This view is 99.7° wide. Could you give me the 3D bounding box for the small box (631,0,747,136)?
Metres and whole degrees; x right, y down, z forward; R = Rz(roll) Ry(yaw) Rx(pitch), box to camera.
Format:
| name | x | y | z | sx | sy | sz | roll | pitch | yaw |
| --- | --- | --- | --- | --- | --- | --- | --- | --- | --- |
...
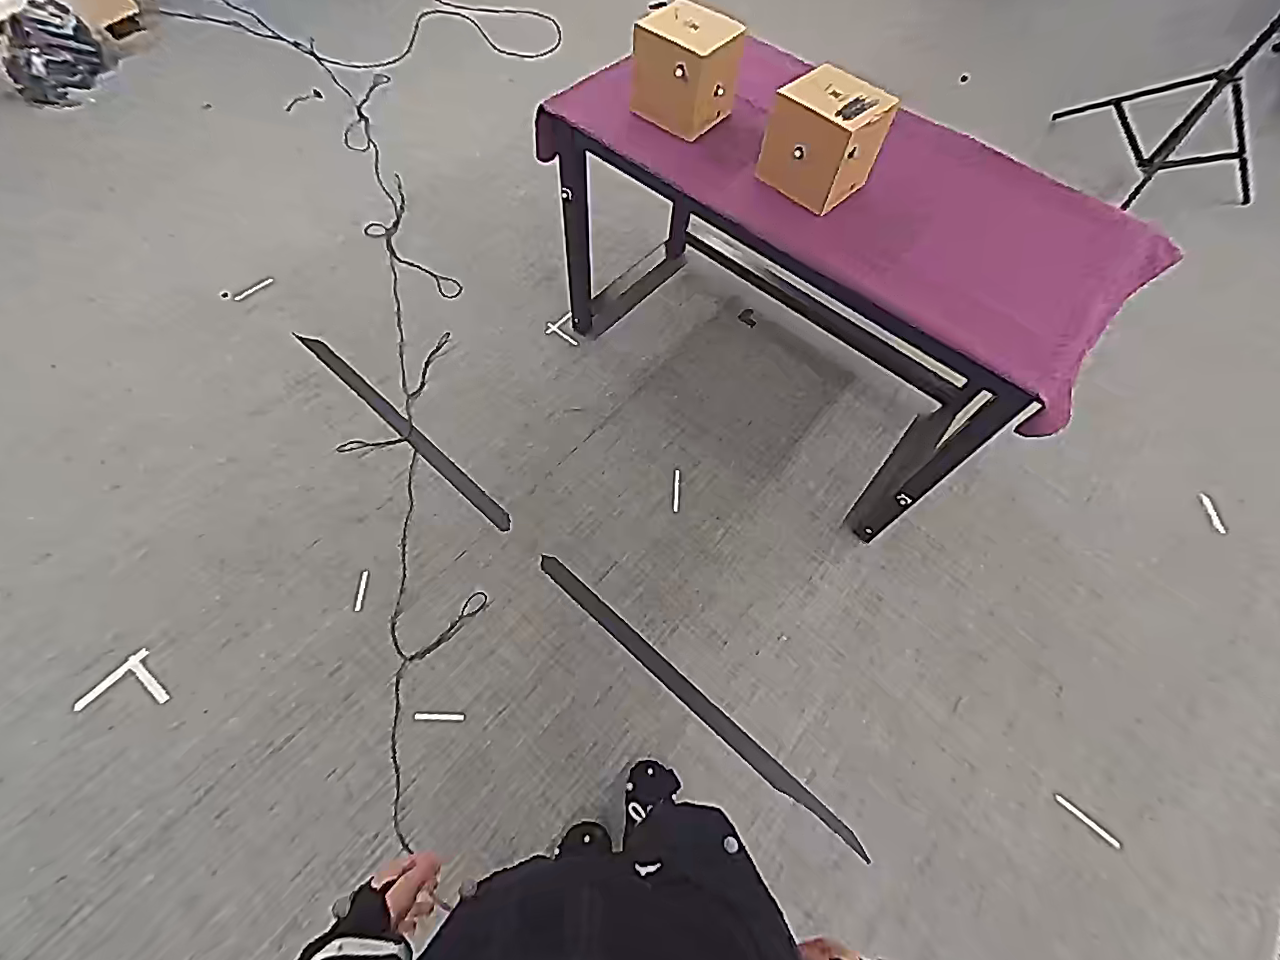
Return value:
| name | x | y | z | sx | sy | sz | roll | pitch | yaw |
| --- | --- | --- | --- | --- | --- | --- | --- | --- | --- |
| small box | 0.098 | -0.878 | 1.163 | 0.179 | 0.176 | 0.168 | 36 | 65 | 14 |
